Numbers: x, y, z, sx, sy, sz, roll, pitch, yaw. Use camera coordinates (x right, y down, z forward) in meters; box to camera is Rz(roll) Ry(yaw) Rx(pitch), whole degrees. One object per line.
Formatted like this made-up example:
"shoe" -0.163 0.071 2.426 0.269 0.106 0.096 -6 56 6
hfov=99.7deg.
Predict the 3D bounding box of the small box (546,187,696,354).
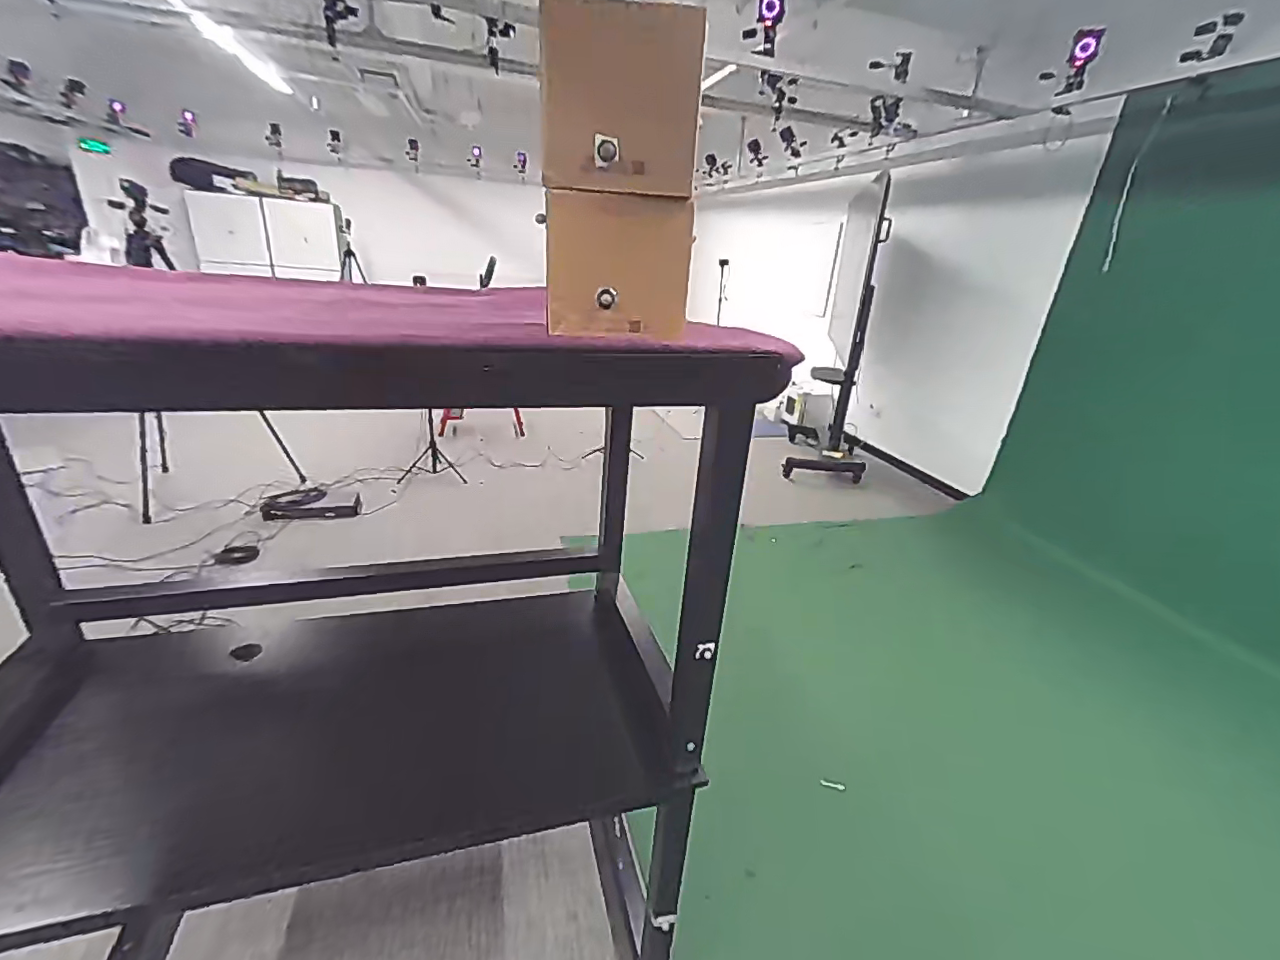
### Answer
"small box" -0.033 -0.266 0.692 0.168 0.176 0.179 1 25 -7

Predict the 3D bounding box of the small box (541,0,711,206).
"small box" -0.020 -0.411 0.620 0.168 0.176 0.179 1 25 -3
